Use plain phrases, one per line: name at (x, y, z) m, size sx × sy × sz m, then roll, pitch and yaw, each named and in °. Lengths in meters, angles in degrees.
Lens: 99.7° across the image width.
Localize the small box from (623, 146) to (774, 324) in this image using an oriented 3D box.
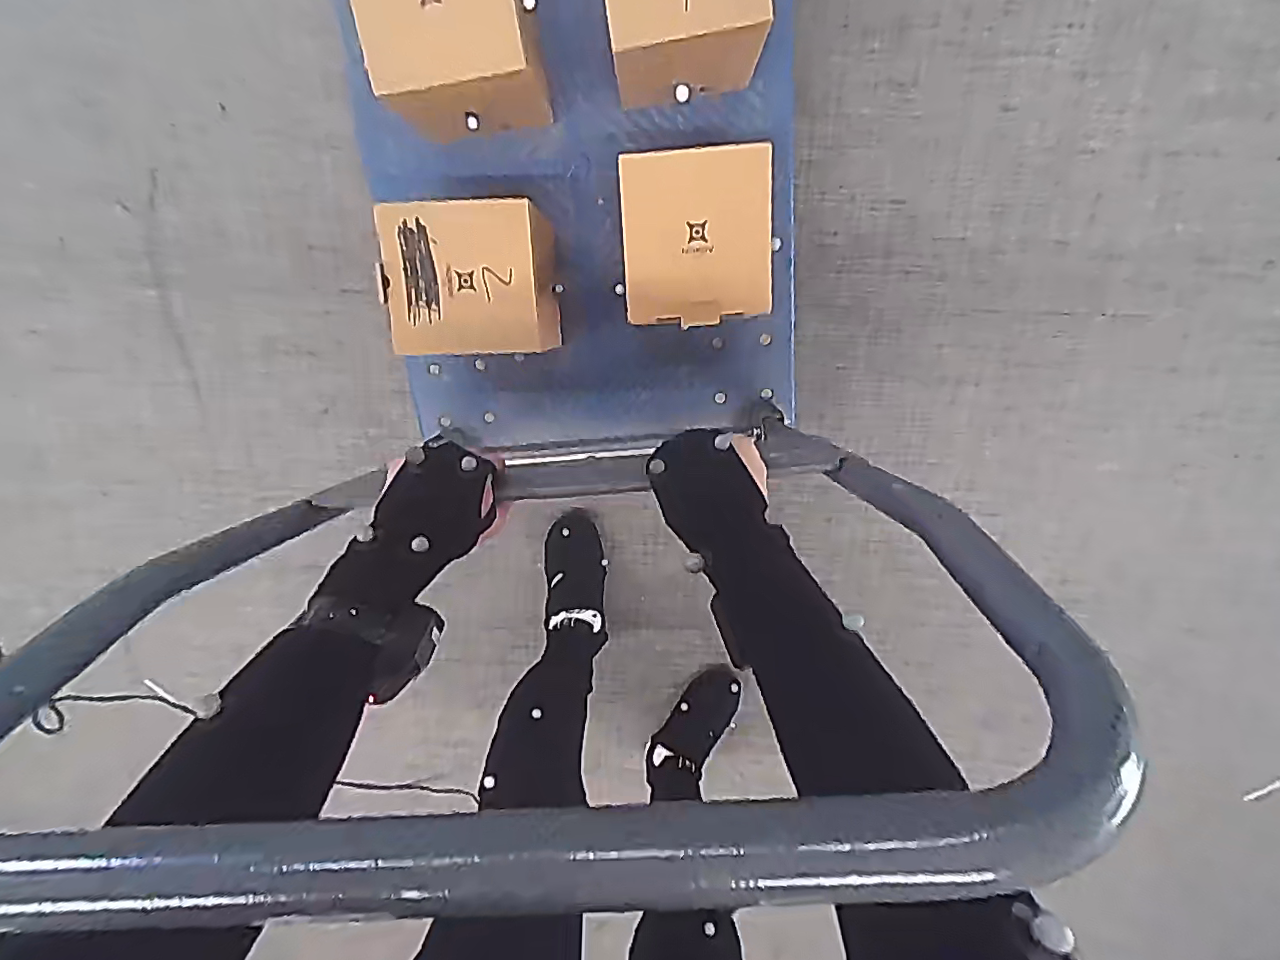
small box at (0.066, -0.289, 0.673) m, size 0.168 × 0.176 × 0.179 m, roll -3°, pitch 107°, yaw 2°

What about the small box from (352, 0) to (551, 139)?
small box at (-0.206, -0.513, 0.614) m, size 0.168 × 0.176 × 0.179 m, roll -7°, pitch 106°, yaw 3°

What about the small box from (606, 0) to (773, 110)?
small box at (0.044, -0.547, 0.596) m, size 0.168 × 0.176 × 0.179 m, roll -7°, pitch 107°, yaw 5°
